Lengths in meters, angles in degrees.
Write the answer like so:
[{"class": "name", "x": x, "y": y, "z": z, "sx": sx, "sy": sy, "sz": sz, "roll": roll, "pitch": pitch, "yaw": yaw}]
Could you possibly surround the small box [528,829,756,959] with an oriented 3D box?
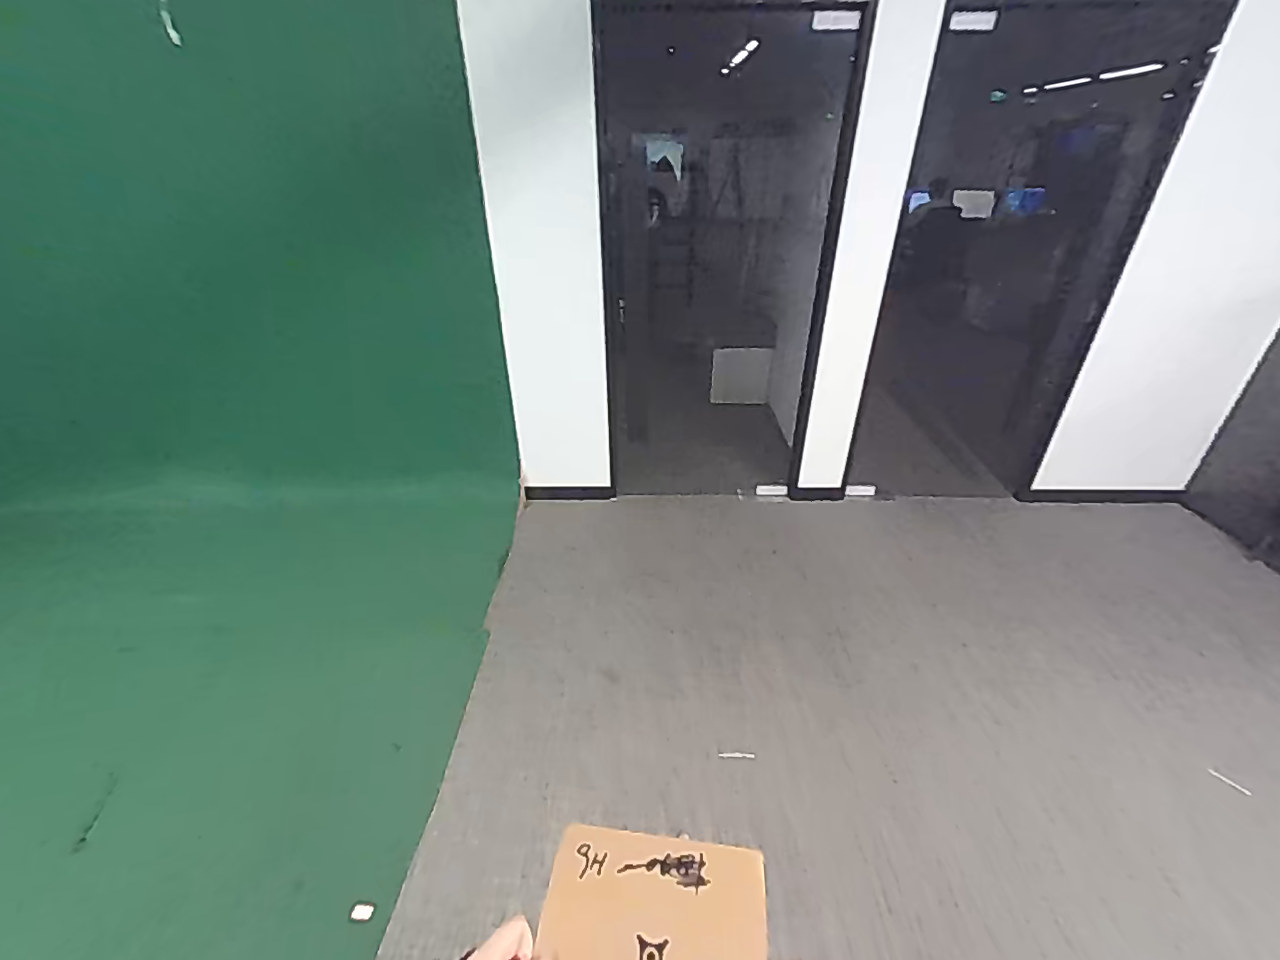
[{"class": "small box", "x": 0.003, "y": 0.417, "z": 0.428, "sx": 0.168, "sy": 0.176, "sz": 0.179, "roll": 4, "pitch": 37, "yaw": 8}]
